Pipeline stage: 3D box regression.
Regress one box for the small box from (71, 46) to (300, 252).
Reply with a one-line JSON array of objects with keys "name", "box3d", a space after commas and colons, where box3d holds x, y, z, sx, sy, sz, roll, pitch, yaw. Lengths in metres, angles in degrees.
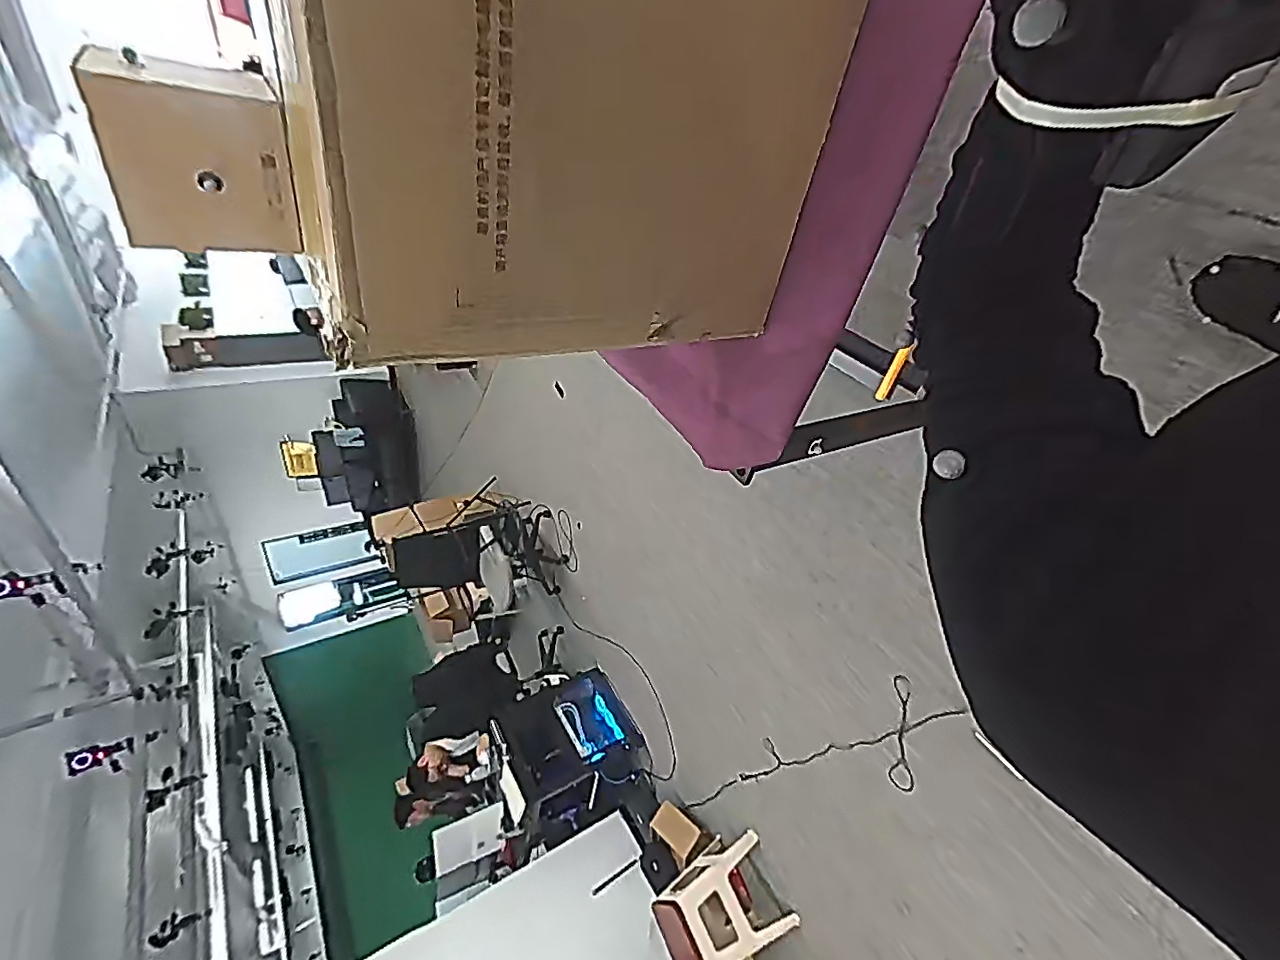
[{"name": "small box", "box3d": [-0.519, -0.384, 0.642, 0.179, 0.176, 0.168, 50, 138, 37]}]
